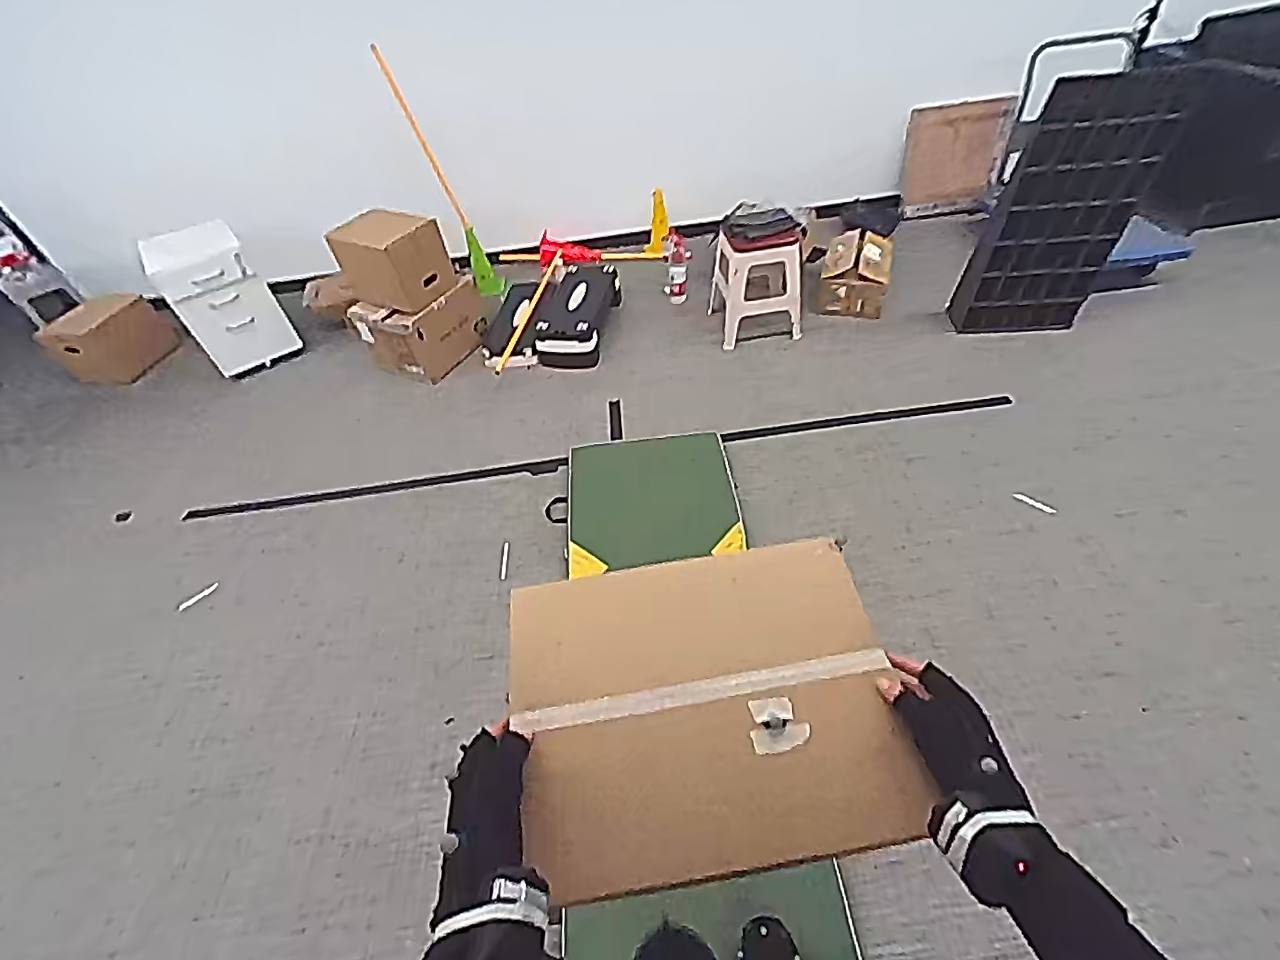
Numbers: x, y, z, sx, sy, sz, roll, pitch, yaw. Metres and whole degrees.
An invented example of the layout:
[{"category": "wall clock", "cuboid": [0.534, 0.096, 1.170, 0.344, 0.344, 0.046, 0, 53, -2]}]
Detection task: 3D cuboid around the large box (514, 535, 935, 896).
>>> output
[{"category": "large box", "cuboid": [0.071, 0.313, 0.709, 0.408, 0.320, 0.320, -9, 53, -3]}]
